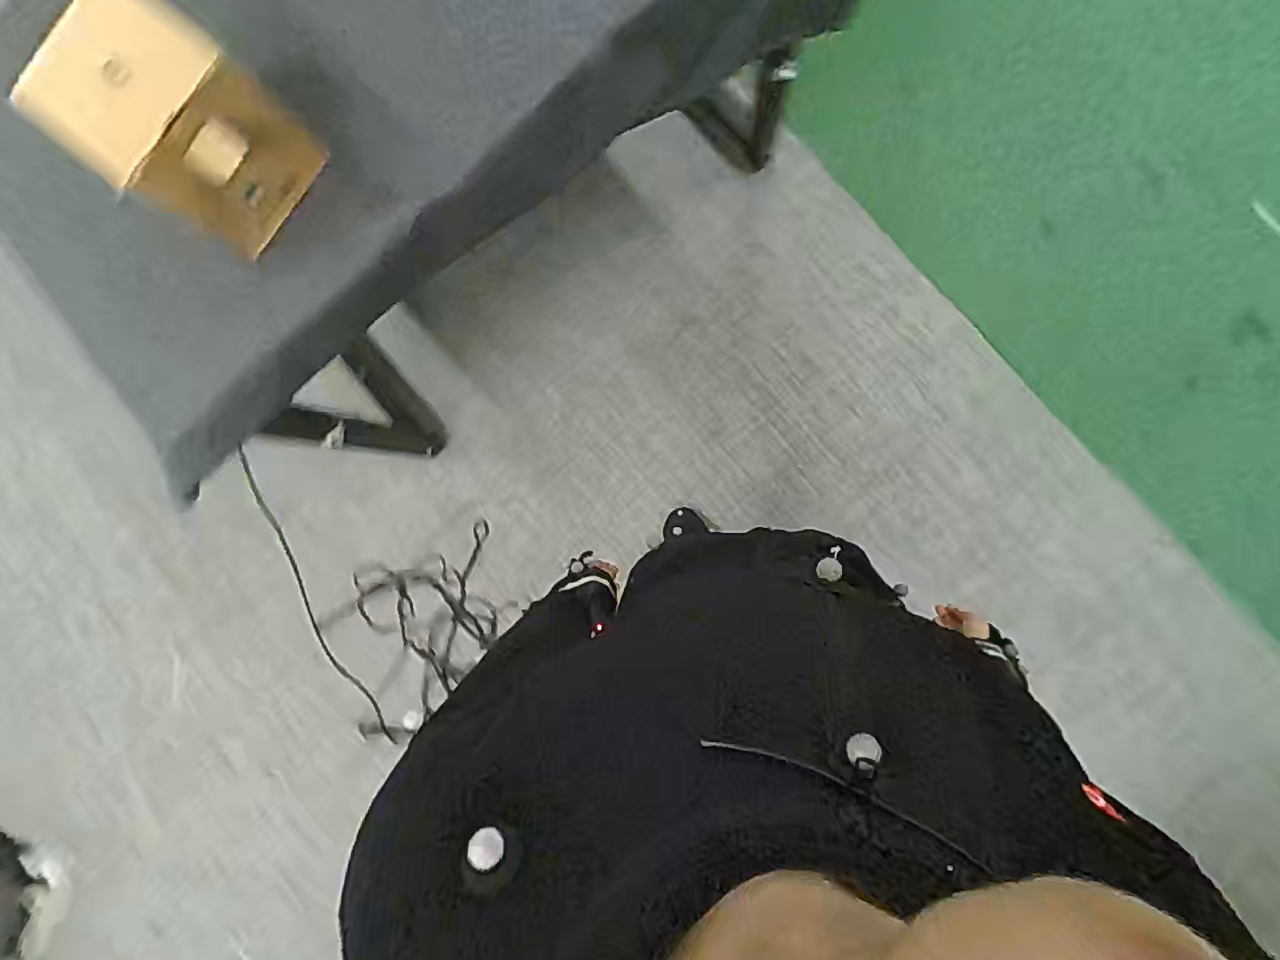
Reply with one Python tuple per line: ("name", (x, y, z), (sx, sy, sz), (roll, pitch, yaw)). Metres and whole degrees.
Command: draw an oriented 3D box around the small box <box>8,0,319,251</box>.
("small box", (-0.531, -0.404, 0.629), (0.179, 0.176, 0.168), (37, 91, 5))
